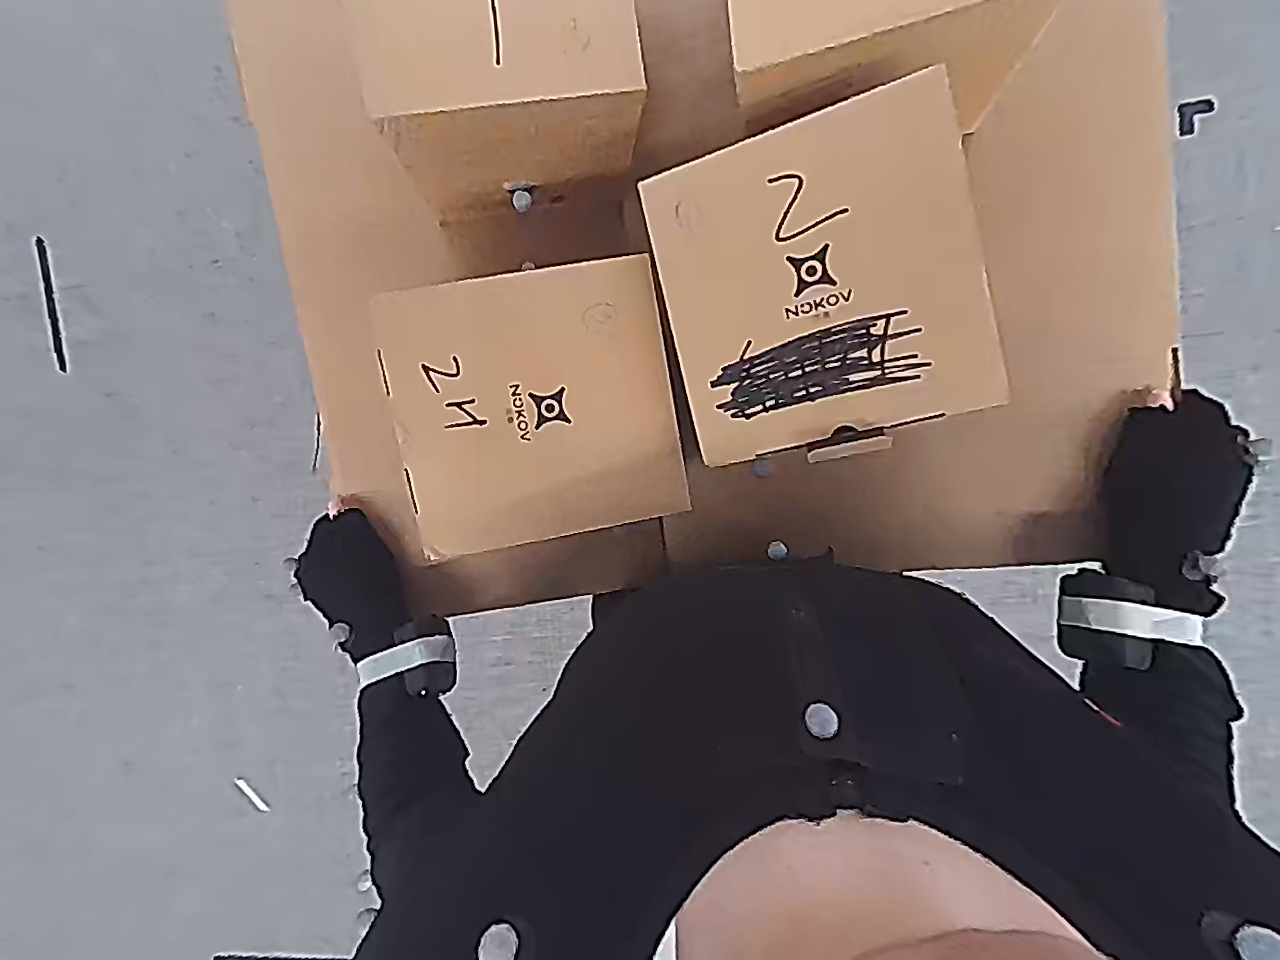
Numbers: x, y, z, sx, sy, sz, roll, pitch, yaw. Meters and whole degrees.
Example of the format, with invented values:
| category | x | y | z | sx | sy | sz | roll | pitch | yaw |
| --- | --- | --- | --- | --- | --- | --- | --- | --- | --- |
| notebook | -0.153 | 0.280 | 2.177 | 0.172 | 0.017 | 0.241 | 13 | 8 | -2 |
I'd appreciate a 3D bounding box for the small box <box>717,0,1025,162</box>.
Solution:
| category | x | y | z | sx | sy | sz | roll | pitch | yaw |
| --- | --- | --- | --- | --- | --- | --- | --- | --- | --- |
| small box | 0.136 | -0.332 | 0.342 | 0.168 | 0.176 | 0.179 | -6 | 96 | 16 |
